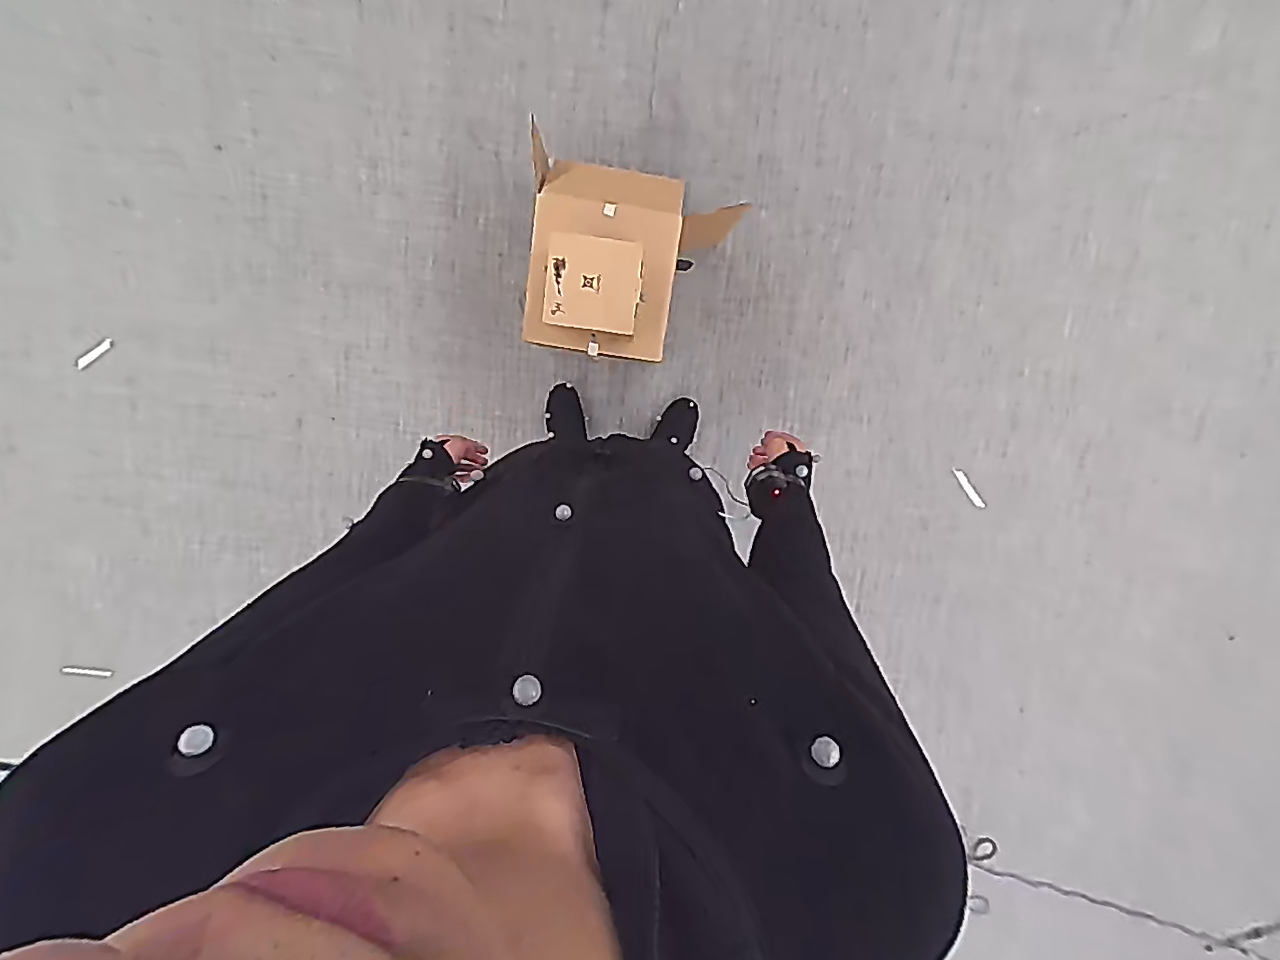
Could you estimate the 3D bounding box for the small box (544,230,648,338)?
[{"bbox_3d":[-0.084,-0.378,1.072,0.179,0.176,0.168,8,102,-3],"label":"small box"}]
